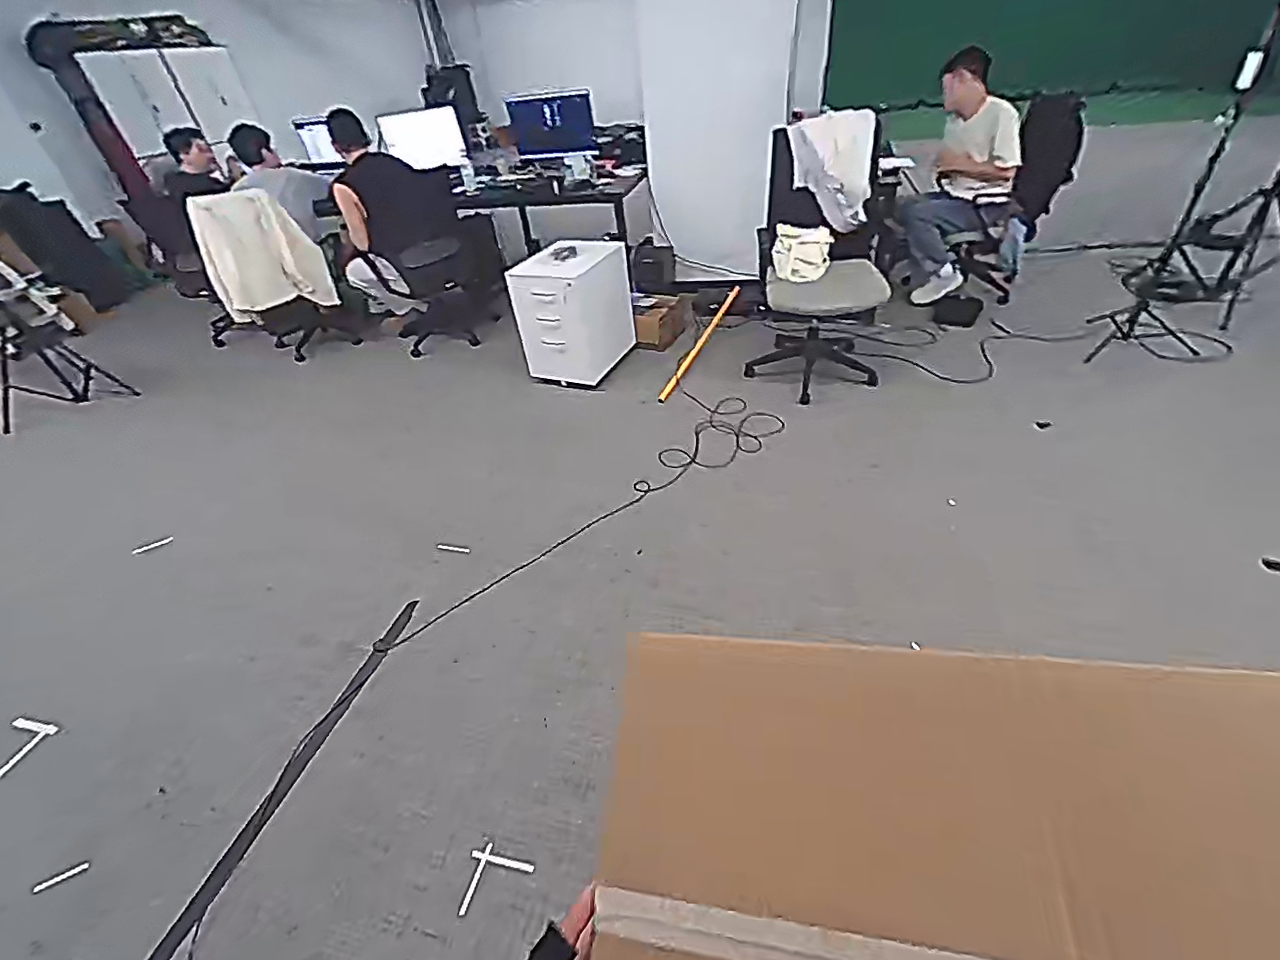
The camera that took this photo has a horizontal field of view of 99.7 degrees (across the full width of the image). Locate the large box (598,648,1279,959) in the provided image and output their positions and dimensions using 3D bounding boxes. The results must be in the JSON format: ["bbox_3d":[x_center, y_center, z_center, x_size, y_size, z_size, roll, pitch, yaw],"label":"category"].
[{"bbox_3d":[0.205,0.320,0.389,0.408,0.320,0.320,-2,62,16],"label":"large box"}]
